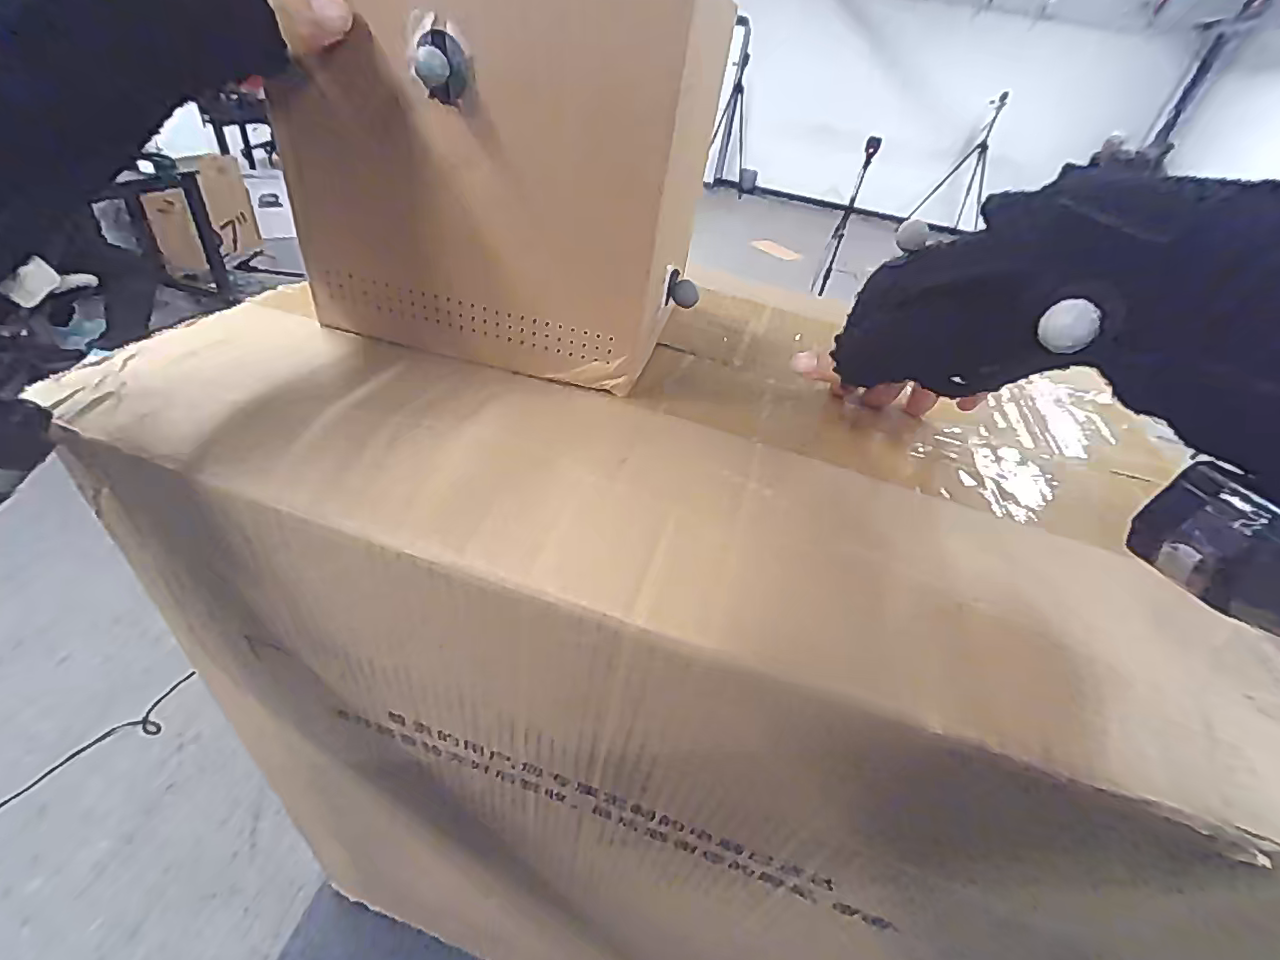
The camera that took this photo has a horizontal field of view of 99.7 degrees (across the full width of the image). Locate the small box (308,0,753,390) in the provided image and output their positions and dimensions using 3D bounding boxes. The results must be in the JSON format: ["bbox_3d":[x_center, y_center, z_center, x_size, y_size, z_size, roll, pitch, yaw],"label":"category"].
[{"bbox_3d":[-0.049,-0.171,0.302,0.179,0.176,0.168,16,40,3],"label":"small box"}]
